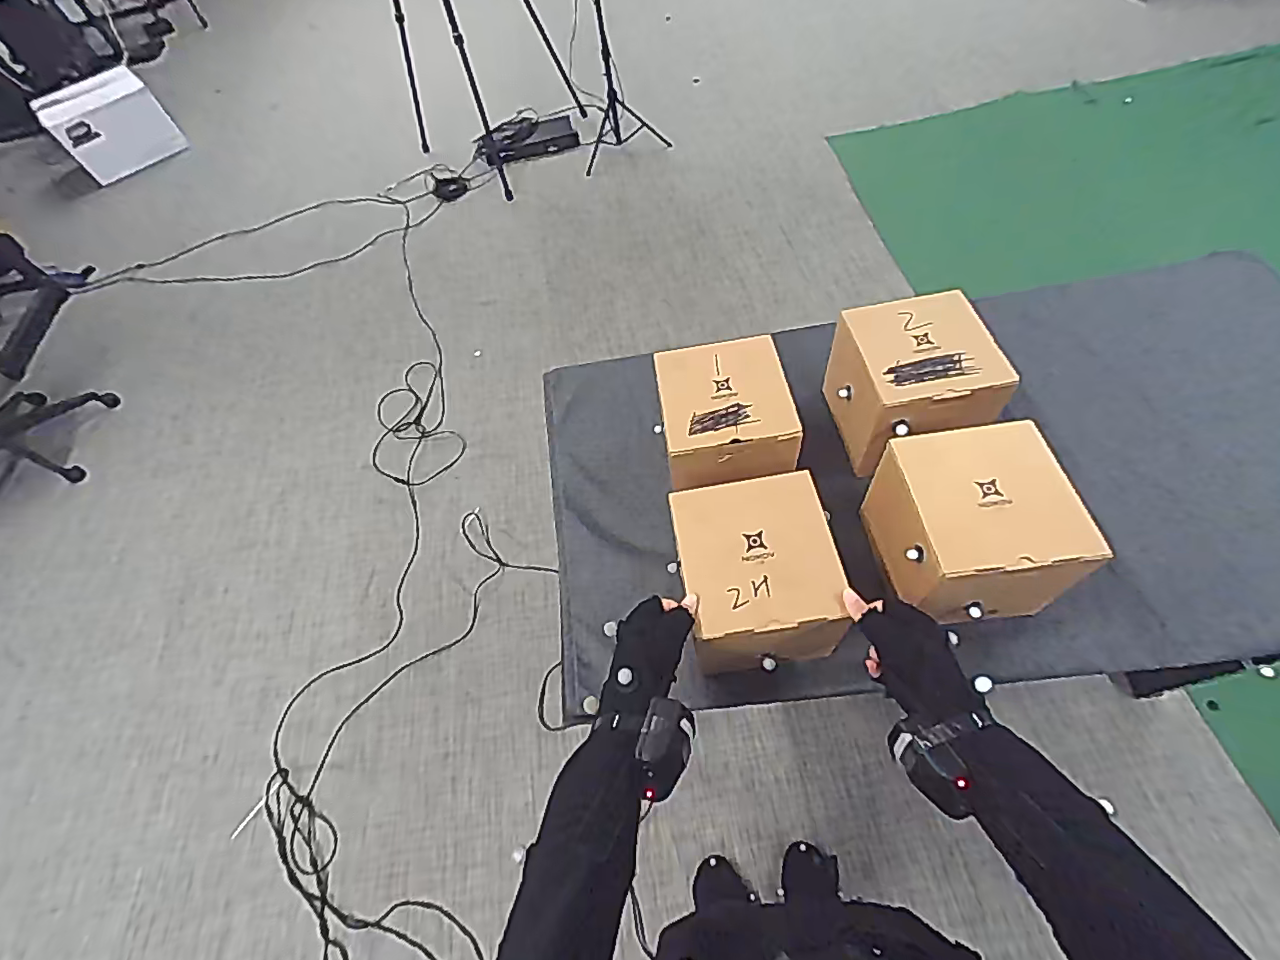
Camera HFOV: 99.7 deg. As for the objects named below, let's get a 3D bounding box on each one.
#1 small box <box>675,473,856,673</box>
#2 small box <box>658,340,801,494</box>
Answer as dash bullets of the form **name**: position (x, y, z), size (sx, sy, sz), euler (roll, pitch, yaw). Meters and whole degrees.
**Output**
- **small box**: position (0.138, 0.118, 0.656), size (0.168, 0.176, 0.179), euler (-10, 58, 3)
- **small box**: position (0.123, -0.069, 0.777), size (0.168, 0.176, 0.179), euler (-8, 57, 3)
